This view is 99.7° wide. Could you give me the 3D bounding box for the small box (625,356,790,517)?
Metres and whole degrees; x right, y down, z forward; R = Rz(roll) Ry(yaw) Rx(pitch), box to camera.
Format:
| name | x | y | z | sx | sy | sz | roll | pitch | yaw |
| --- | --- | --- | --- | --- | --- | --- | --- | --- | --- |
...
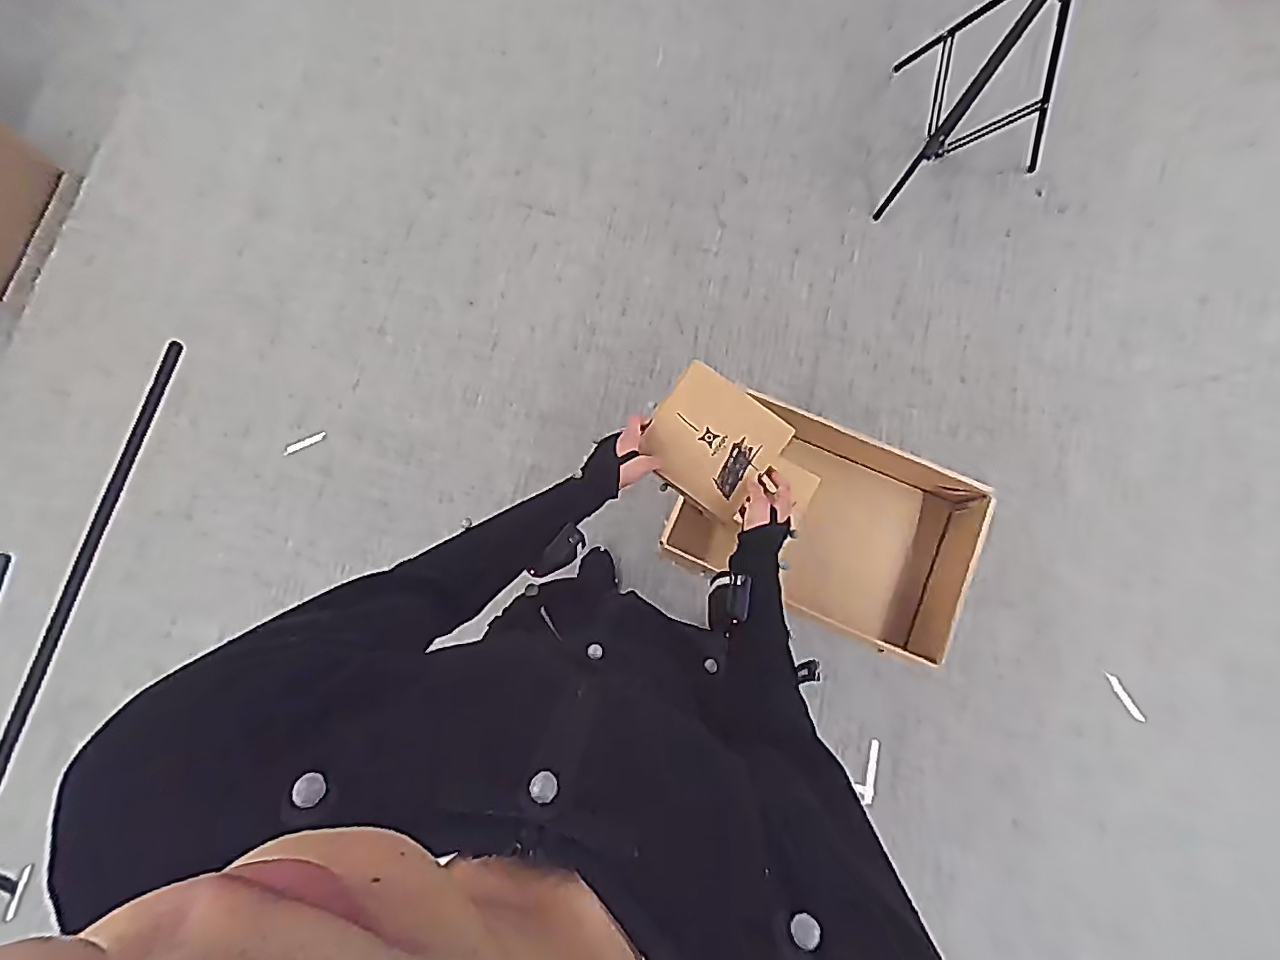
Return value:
| name | x | y | z | sx | sy | sz | roll | pitch | yaw |
| --- | --- | --- | --- | --- | --- | --- | --- | --- | --- |
| small box | 0.094 | -0.066 | 0.840 | 0.179 | 0.176 | 0.168 | 36 | 90 | -5 |
